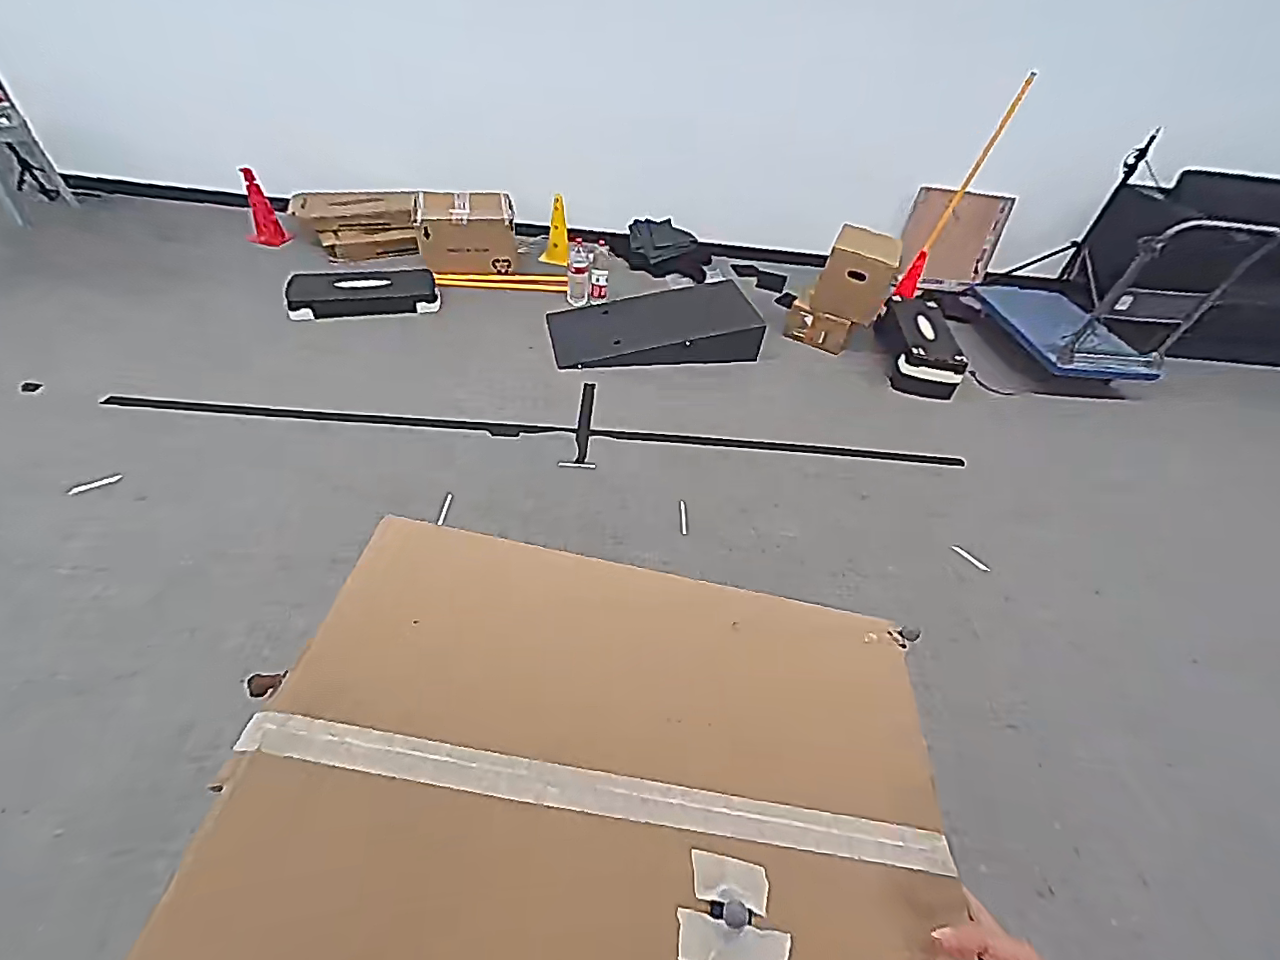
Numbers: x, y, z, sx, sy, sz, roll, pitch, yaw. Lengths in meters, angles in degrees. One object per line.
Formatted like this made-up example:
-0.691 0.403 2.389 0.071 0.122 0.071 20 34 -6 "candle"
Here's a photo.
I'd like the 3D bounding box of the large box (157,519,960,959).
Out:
-0.042 0.277 0.432 0.408 0.320 0.320 13 48 -4 "large box"
